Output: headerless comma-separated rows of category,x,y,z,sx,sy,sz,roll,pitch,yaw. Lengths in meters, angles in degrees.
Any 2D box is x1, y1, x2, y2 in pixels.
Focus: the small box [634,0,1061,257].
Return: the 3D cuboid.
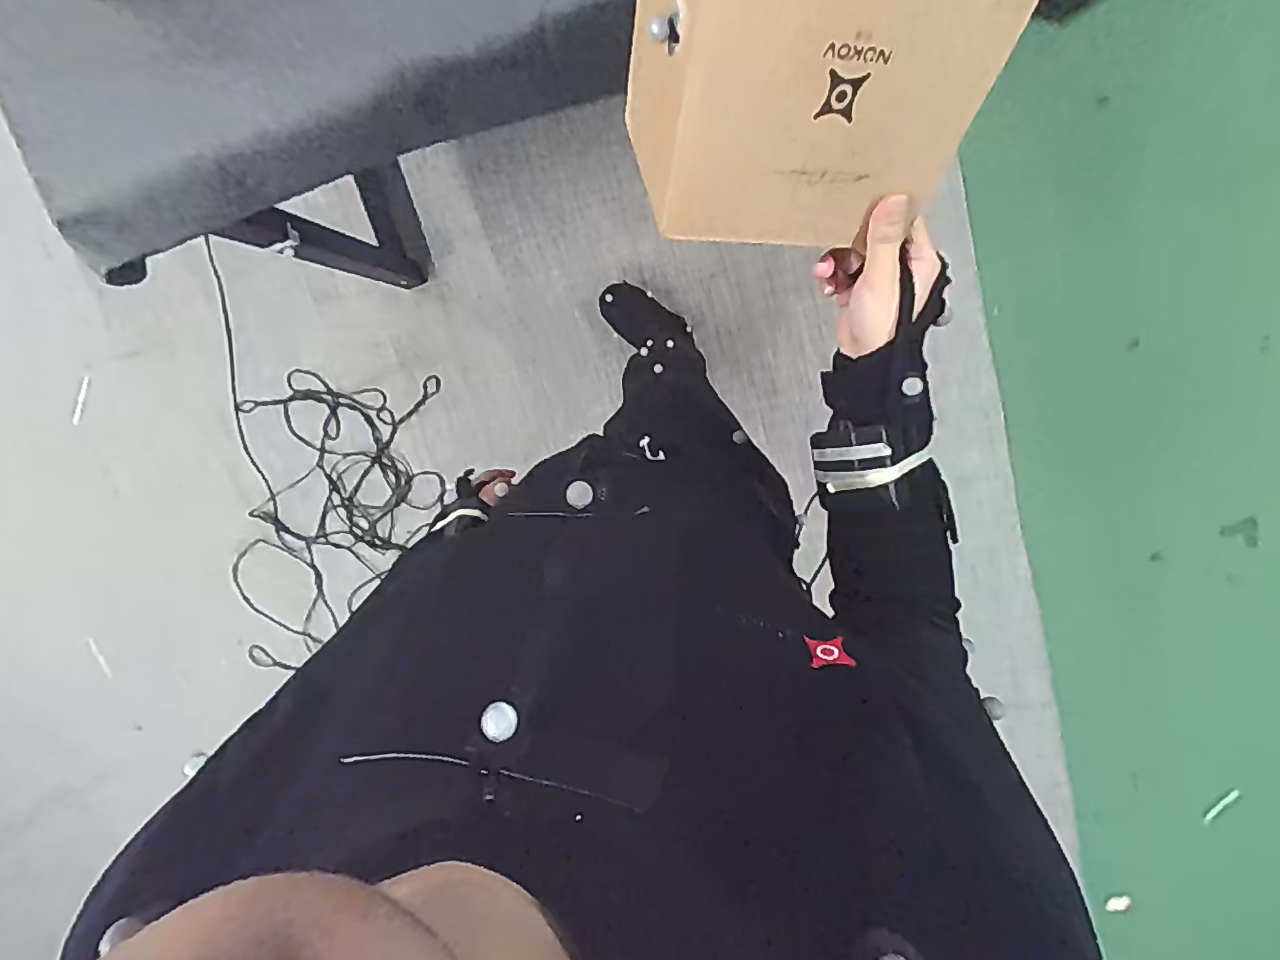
small box,0.096,-0.260,0.316,0.168,0.176,0.179,-2,145,-12
